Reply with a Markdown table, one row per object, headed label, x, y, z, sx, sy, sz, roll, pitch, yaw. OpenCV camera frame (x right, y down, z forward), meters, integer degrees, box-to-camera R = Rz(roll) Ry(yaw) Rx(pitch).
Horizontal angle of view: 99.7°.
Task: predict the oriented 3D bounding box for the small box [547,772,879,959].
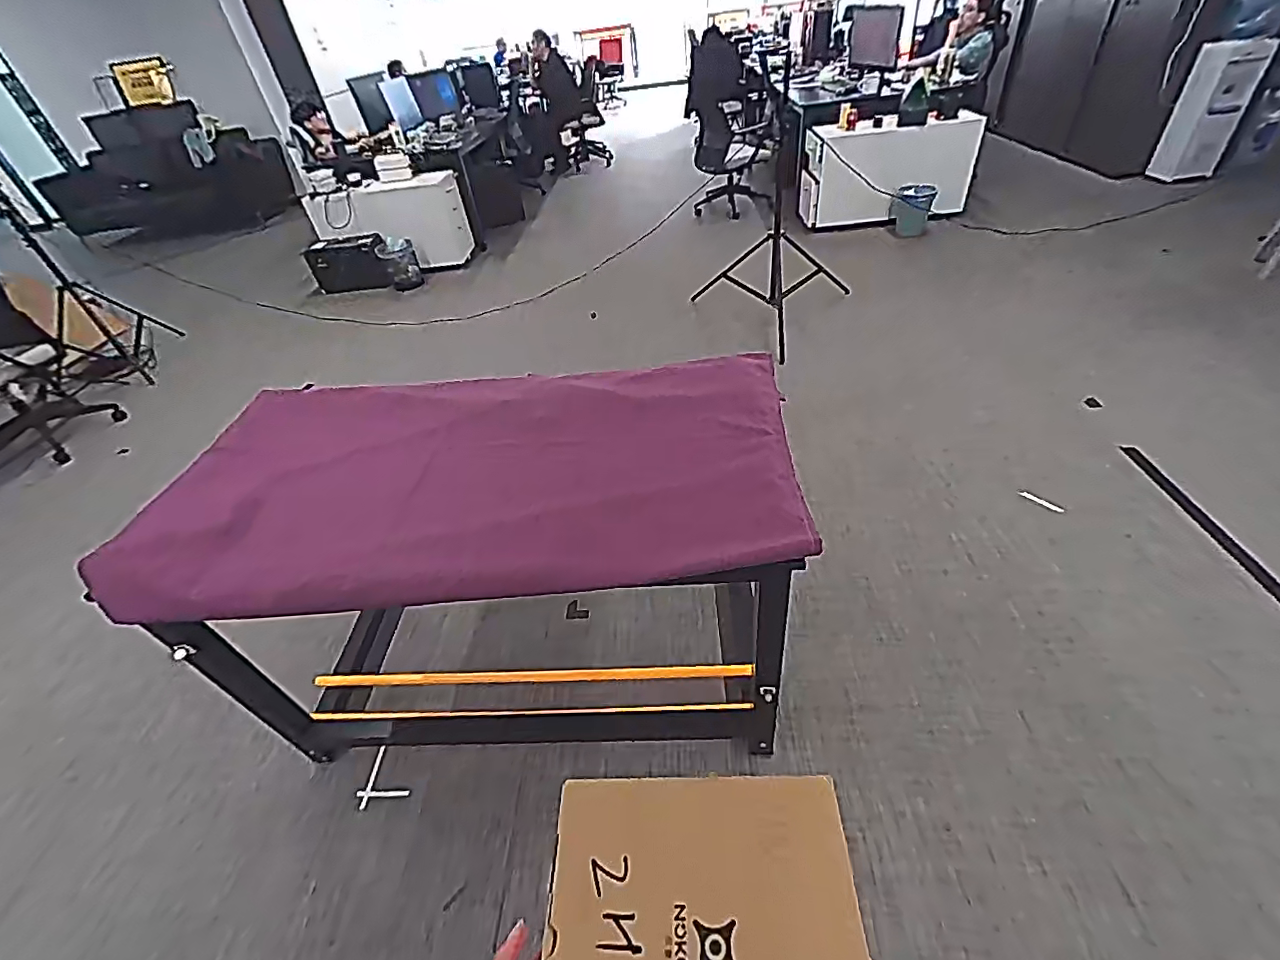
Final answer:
| label | x | y | z | sx | sy | sz | roll | pitch | yaw |
| --- | --- | --- | --- | --- | --- | --- | --- | --- | --- |
| small box | 0.046 | 0.301 | 0.342 | 0.179 | 0.176 | 0.168 | -5 | 43 | 7 |
